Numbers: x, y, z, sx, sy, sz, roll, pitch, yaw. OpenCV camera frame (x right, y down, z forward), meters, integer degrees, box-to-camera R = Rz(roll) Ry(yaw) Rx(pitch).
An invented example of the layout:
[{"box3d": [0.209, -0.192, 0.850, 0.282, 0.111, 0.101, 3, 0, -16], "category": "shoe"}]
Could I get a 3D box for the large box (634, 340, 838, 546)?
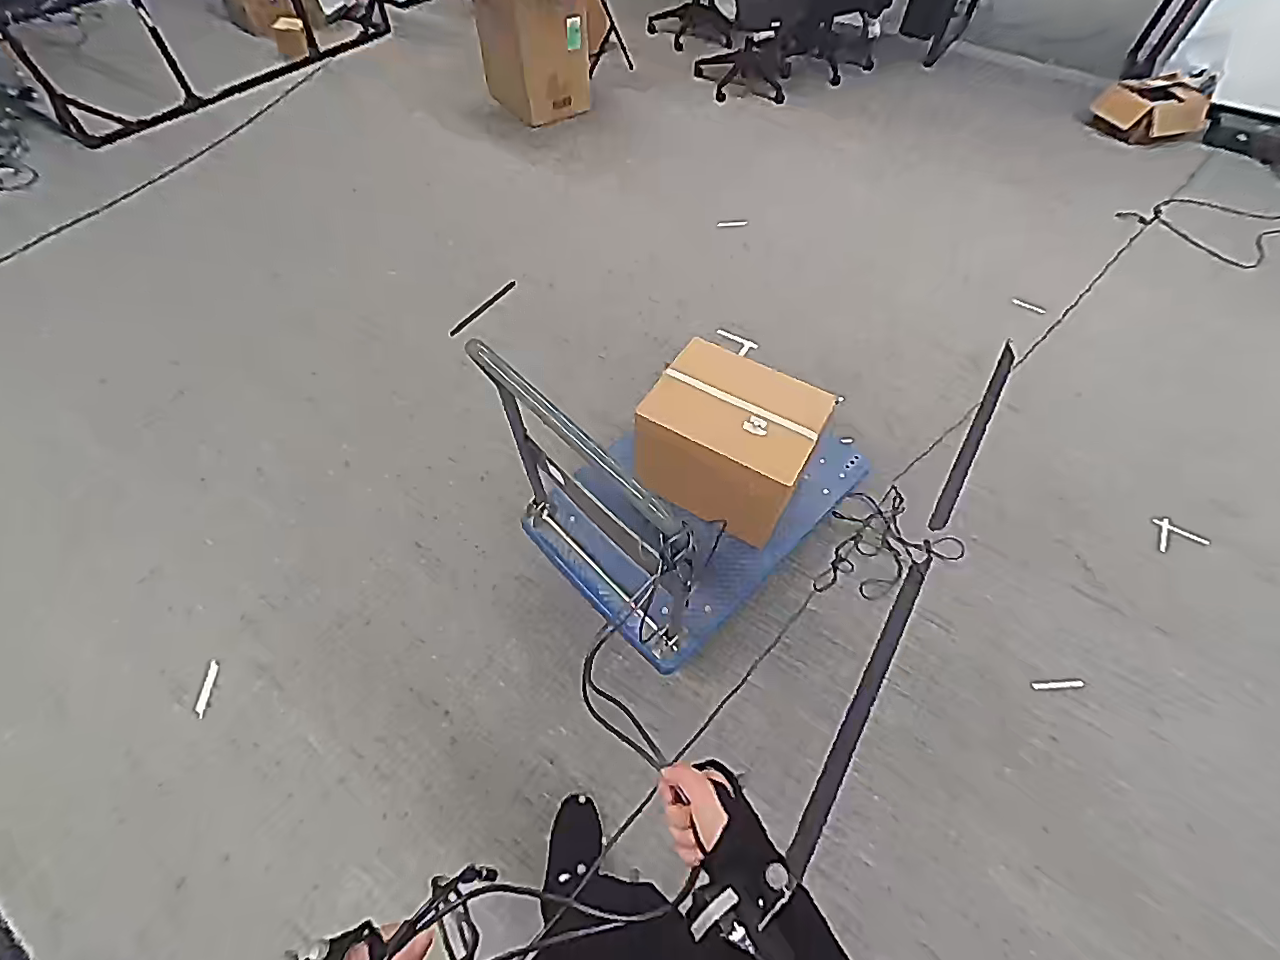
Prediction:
[{"box3d": [0.231, -0.095, 1.418, 0.408, 0.320, 0.320, 28, 61, 15], "category": "large box"}]
